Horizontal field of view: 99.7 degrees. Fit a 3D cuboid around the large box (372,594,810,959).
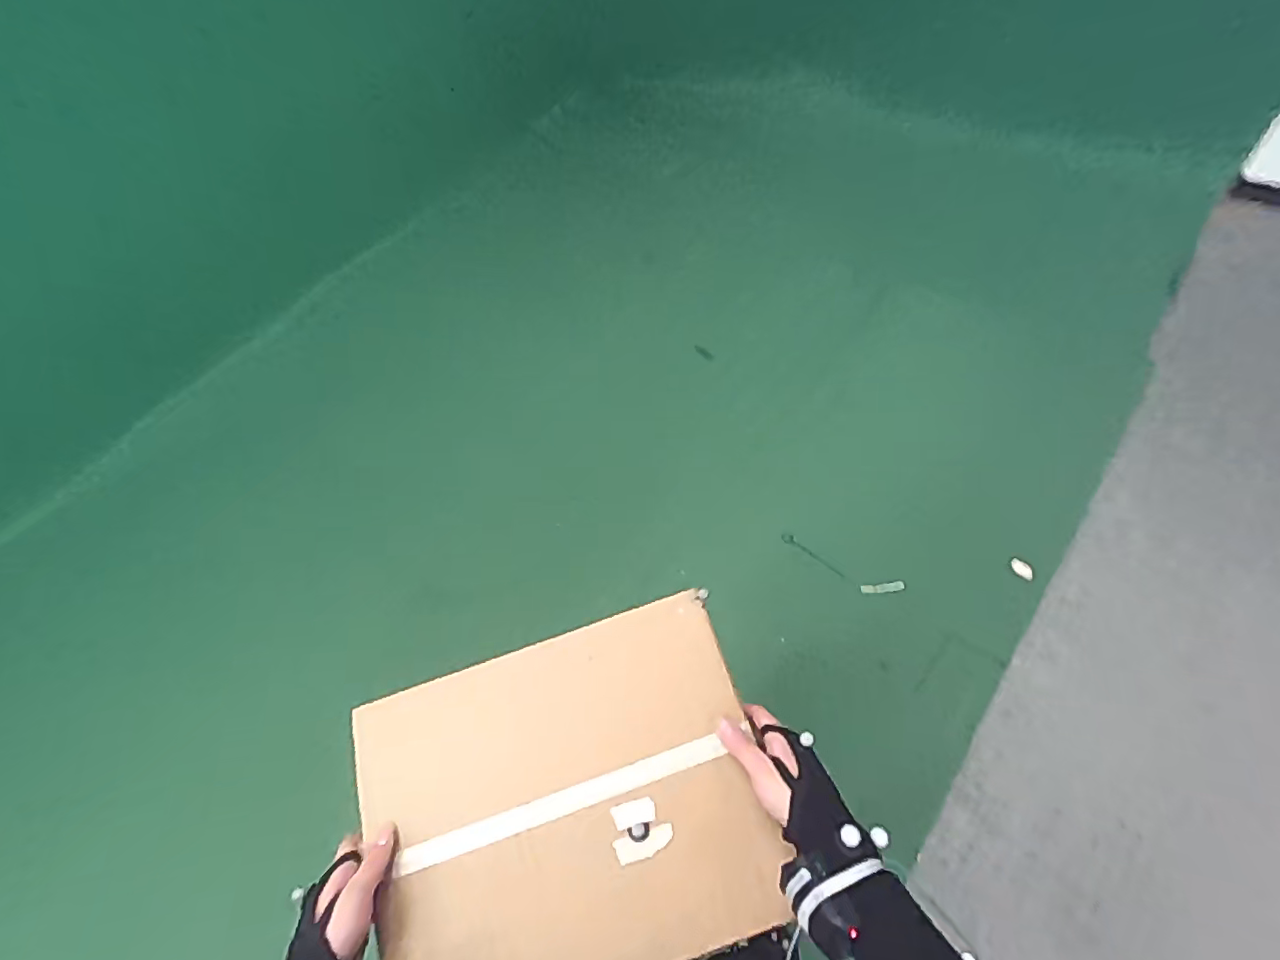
[{"bbox_3d":[-0.059,0.386,0.697,0.408,0.320,0.320,-18,68,-3],"label":"large box"}]
